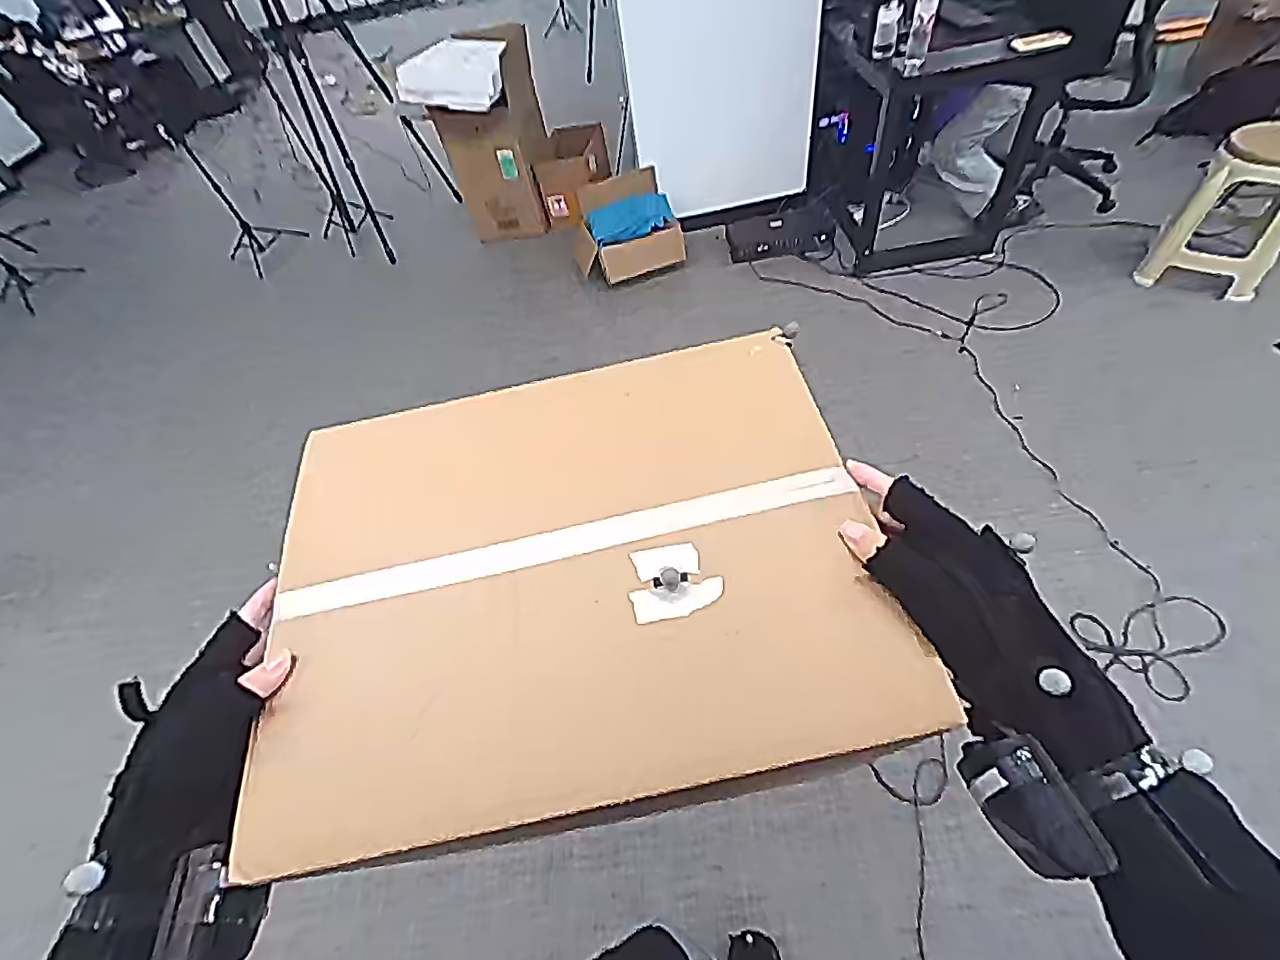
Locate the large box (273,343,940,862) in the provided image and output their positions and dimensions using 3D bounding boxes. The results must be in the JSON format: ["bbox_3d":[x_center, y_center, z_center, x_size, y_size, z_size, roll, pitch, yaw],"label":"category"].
[{"bbox_3d":[-0.030,0.126,0.513,0.408,0.320,0.320,-12,58,-1],"label":"large box"}]
